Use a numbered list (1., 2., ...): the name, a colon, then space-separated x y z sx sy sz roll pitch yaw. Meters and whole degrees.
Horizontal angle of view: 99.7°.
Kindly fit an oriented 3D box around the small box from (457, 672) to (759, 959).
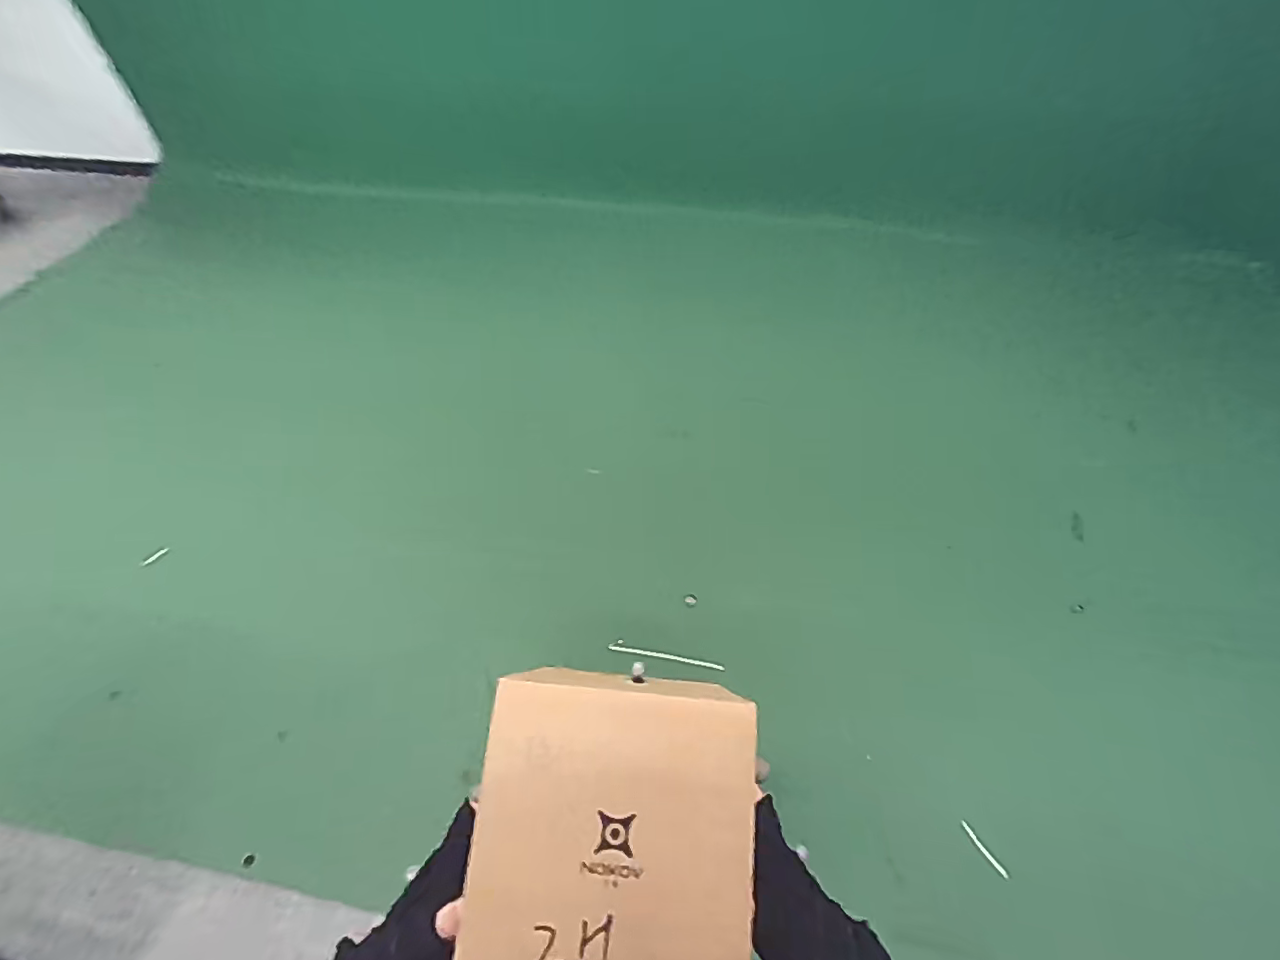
1. small box: -0.014 0.238 0.392 0.168 0.176 0.179 5 72 2
